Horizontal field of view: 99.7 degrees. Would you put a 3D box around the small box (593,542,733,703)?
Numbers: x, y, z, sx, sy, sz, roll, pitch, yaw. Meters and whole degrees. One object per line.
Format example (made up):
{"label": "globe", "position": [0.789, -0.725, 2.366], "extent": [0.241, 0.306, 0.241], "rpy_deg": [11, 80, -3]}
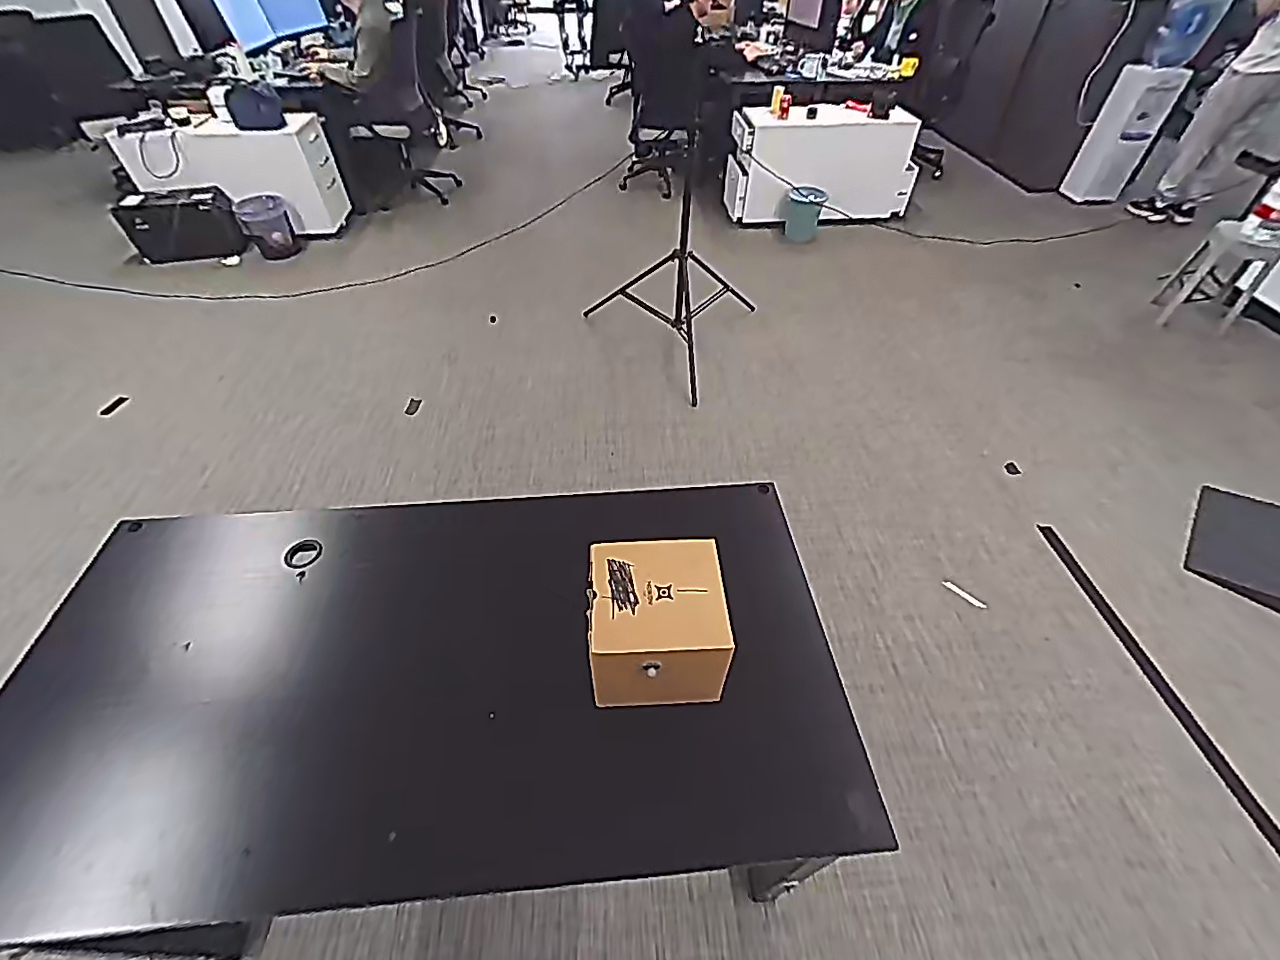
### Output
{"label": "small box", "position": [0.026, 0.206, 0.771], "extent": [0.179, 0.176, 0.168], "rpy_deg": [-2, 47, -2]}
